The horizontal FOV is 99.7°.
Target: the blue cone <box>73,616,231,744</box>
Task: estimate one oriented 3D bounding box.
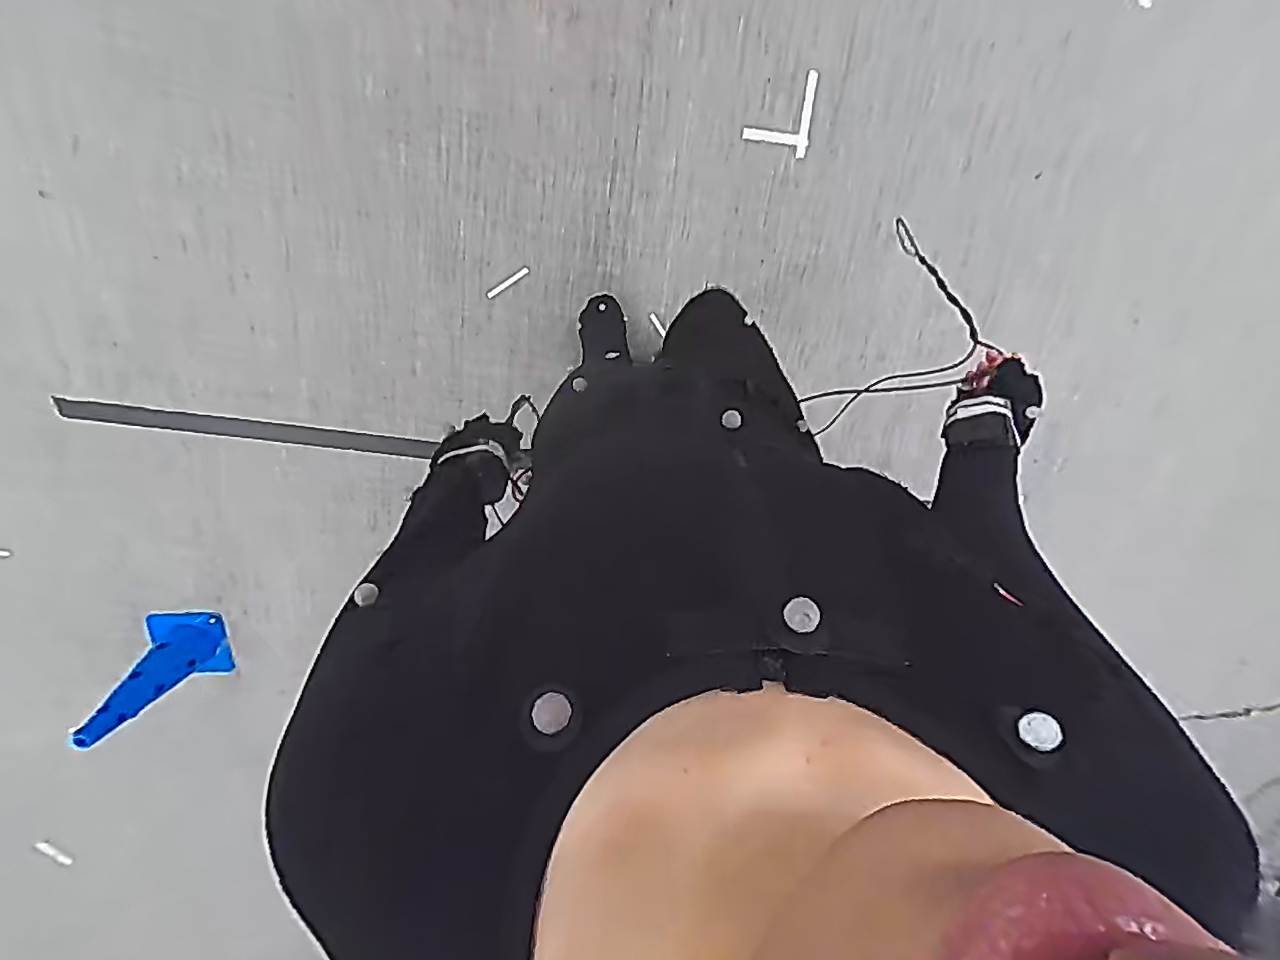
[{"bbox_3d":[-1.259,0.522,1.379,0.193,0.380,0.192,1,109,-5],"label":"blue cone"}]
